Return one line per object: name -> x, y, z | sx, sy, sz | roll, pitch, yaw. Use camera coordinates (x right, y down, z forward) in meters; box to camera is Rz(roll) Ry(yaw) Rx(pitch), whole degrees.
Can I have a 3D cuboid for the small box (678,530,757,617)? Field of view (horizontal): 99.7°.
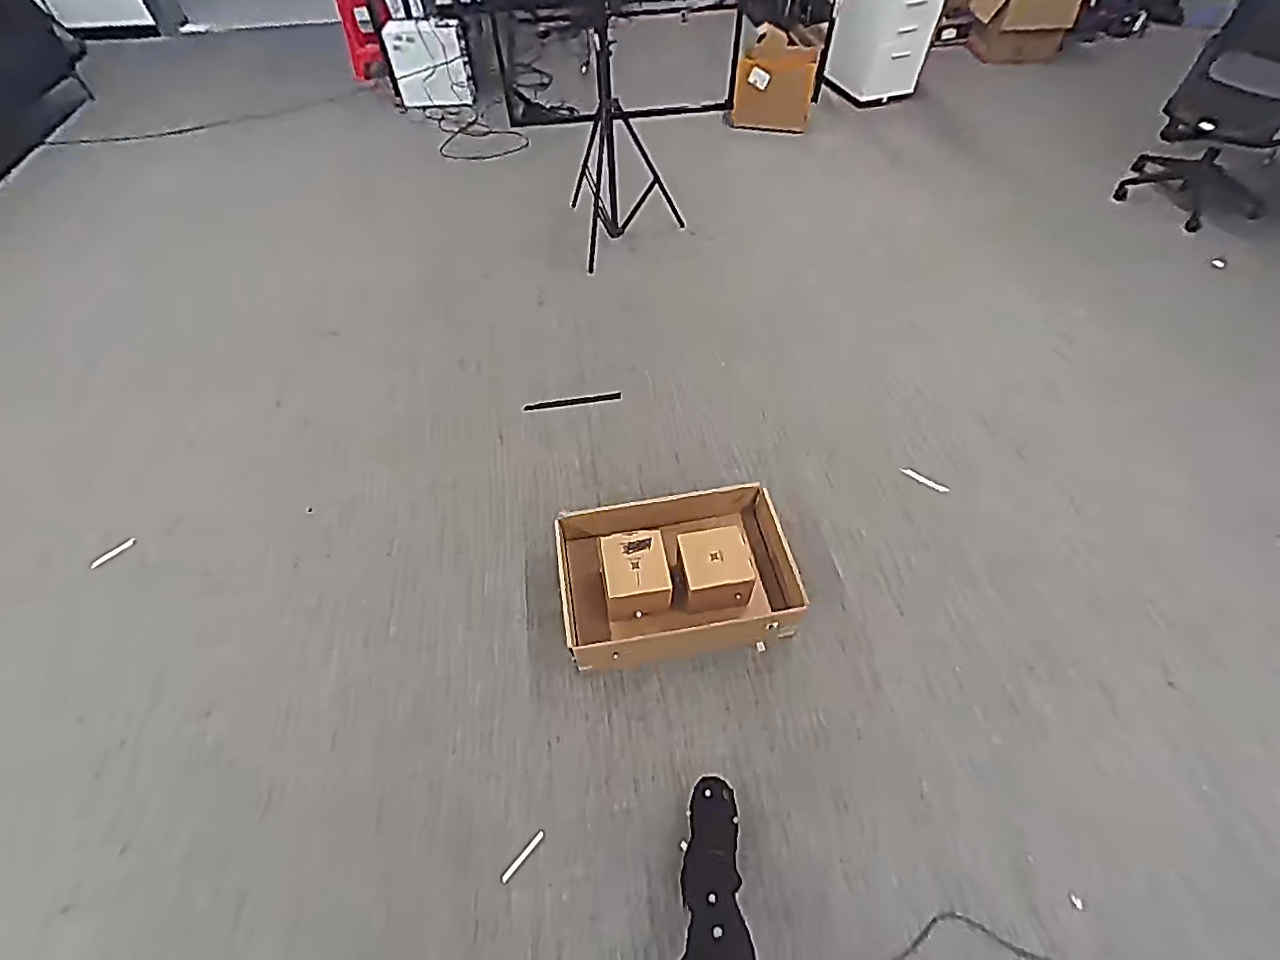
small box -> 0.204, 0.259, 1.483 | 0.179, 0.176, 0.168 | -9, 54, -3
